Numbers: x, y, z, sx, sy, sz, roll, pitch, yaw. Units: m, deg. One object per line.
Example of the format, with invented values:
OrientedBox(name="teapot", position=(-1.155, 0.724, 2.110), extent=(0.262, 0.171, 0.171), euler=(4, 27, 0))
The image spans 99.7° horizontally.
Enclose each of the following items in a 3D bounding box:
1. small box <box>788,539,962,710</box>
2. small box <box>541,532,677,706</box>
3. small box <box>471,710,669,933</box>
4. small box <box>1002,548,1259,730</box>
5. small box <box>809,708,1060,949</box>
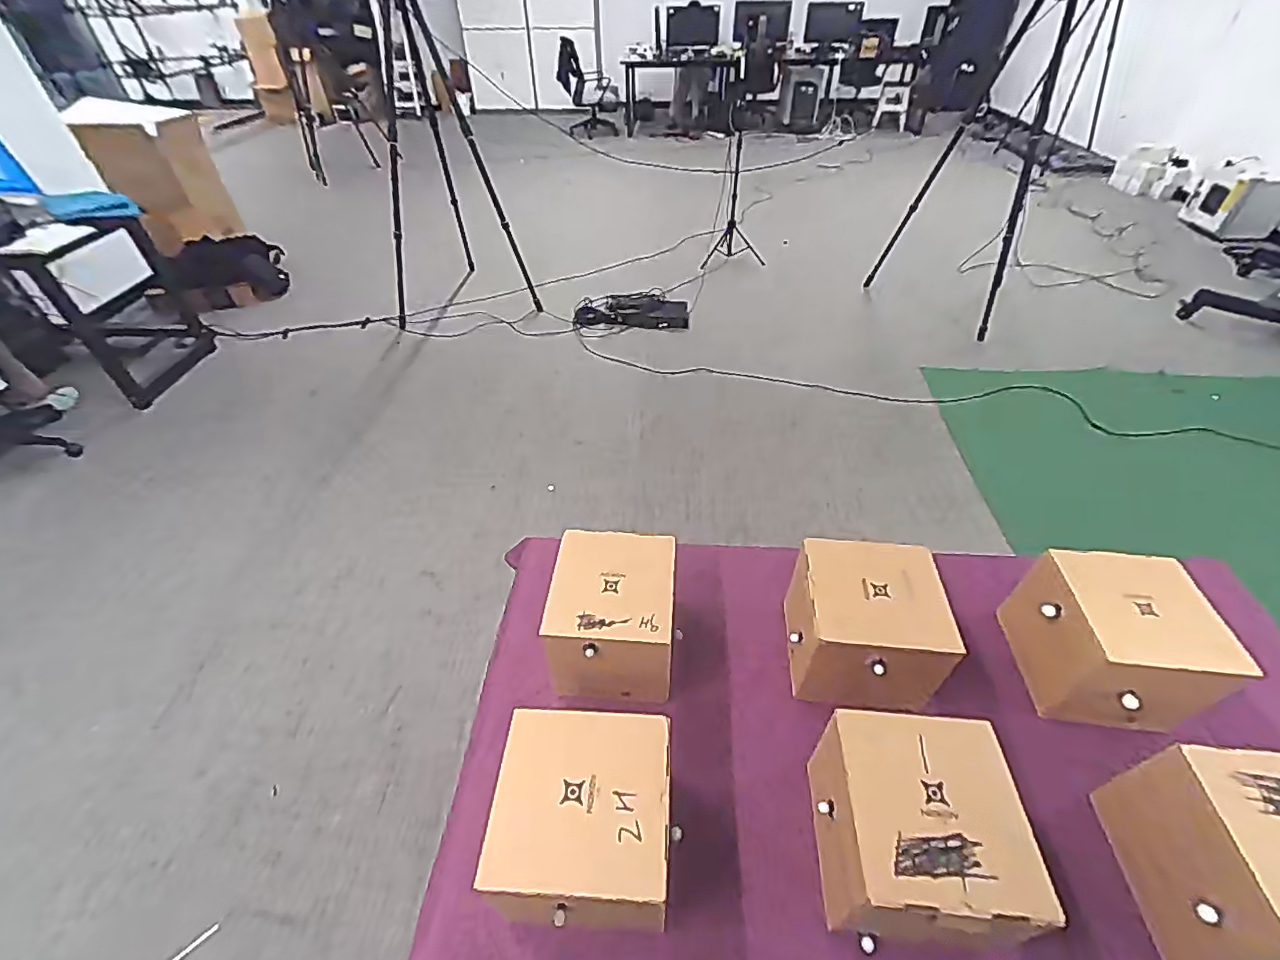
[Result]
OrientedBox(name="small box", position=(0.310, 0.204, 0.762), extent=(0.179, 0.176, 0.168), euler=(4, 44, 6))
OrientedBox(name="small box", position=(-0.035, 0.198, 0.780), extent=(0.168, 0.176, 0.179), euler=(2, 43, 4))
OrientedBox(name="small box", position=(-0.059, 0.373, 0.591), extent=(0.179, 0.176, 0.168), euler=(2, 43, 3))
OrientedBox(name="small box", position=(0.636, 0.217, 0.735), extent=(0.168, 0.176, 0.179), euler=(3, 42, 6))
OrientedBox(name="small box", position=(0.287, 0.372, 0.578), extent=(0.168, 0.176, 0.179), euler=(3, 42, 5))
